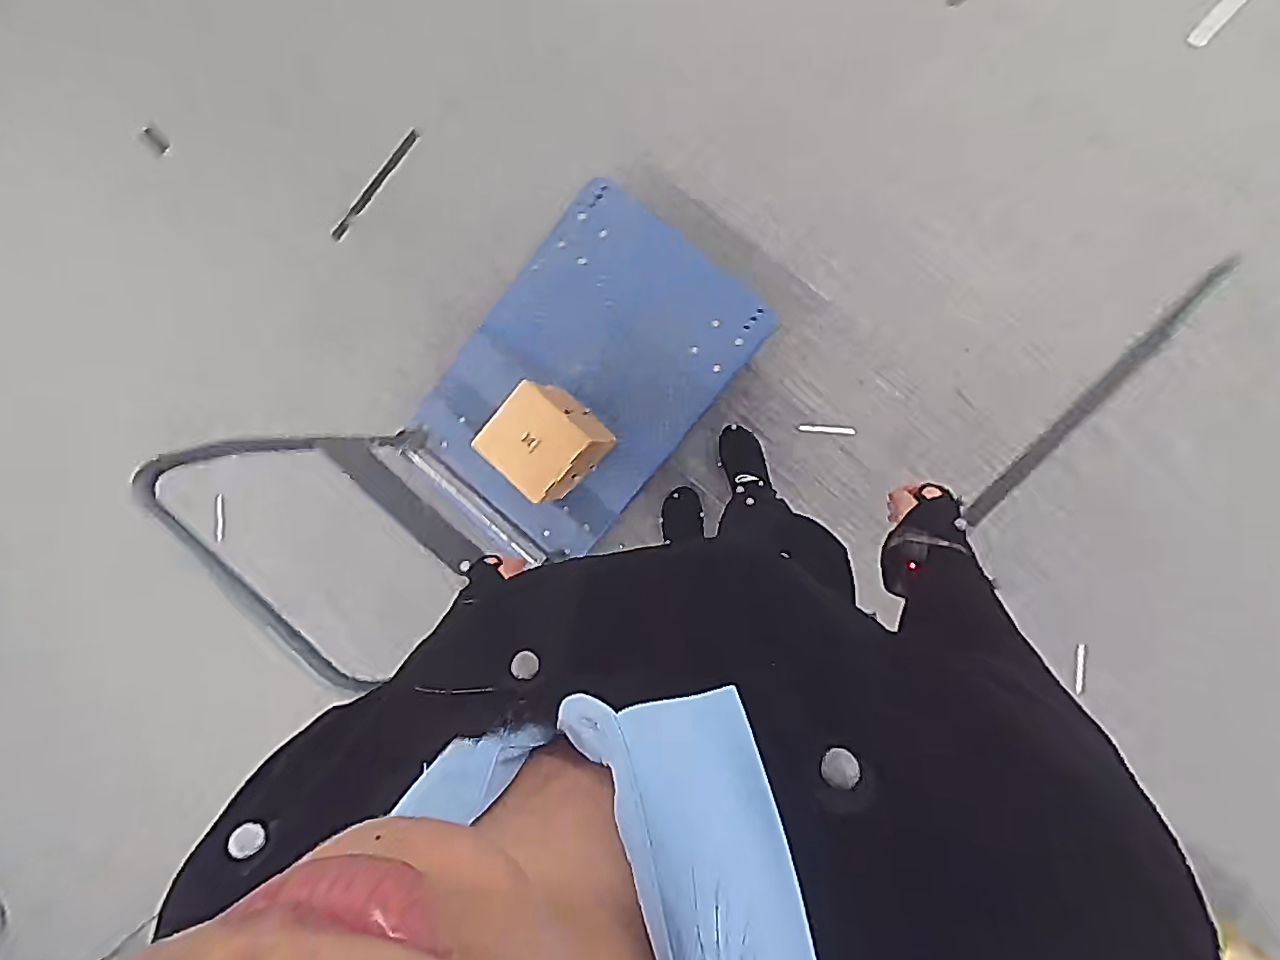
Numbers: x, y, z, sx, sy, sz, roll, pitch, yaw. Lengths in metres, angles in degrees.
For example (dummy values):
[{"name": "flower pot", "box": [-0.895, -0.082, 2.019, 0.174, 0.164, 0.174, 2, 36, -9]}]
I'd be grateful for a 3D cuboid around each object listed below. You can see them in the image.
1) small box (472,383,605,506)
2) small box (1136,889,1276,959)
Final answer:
[{"name": "small box", "box": [-0.195, -0.068, 1.087, 0.179, 0.176, 0.168, 42, 97, 4]}, {"name": "small box", "box": [1.341, 1.116, 1.261, 0.179, 0.176, 0.168, 30, 95, 6]}]
